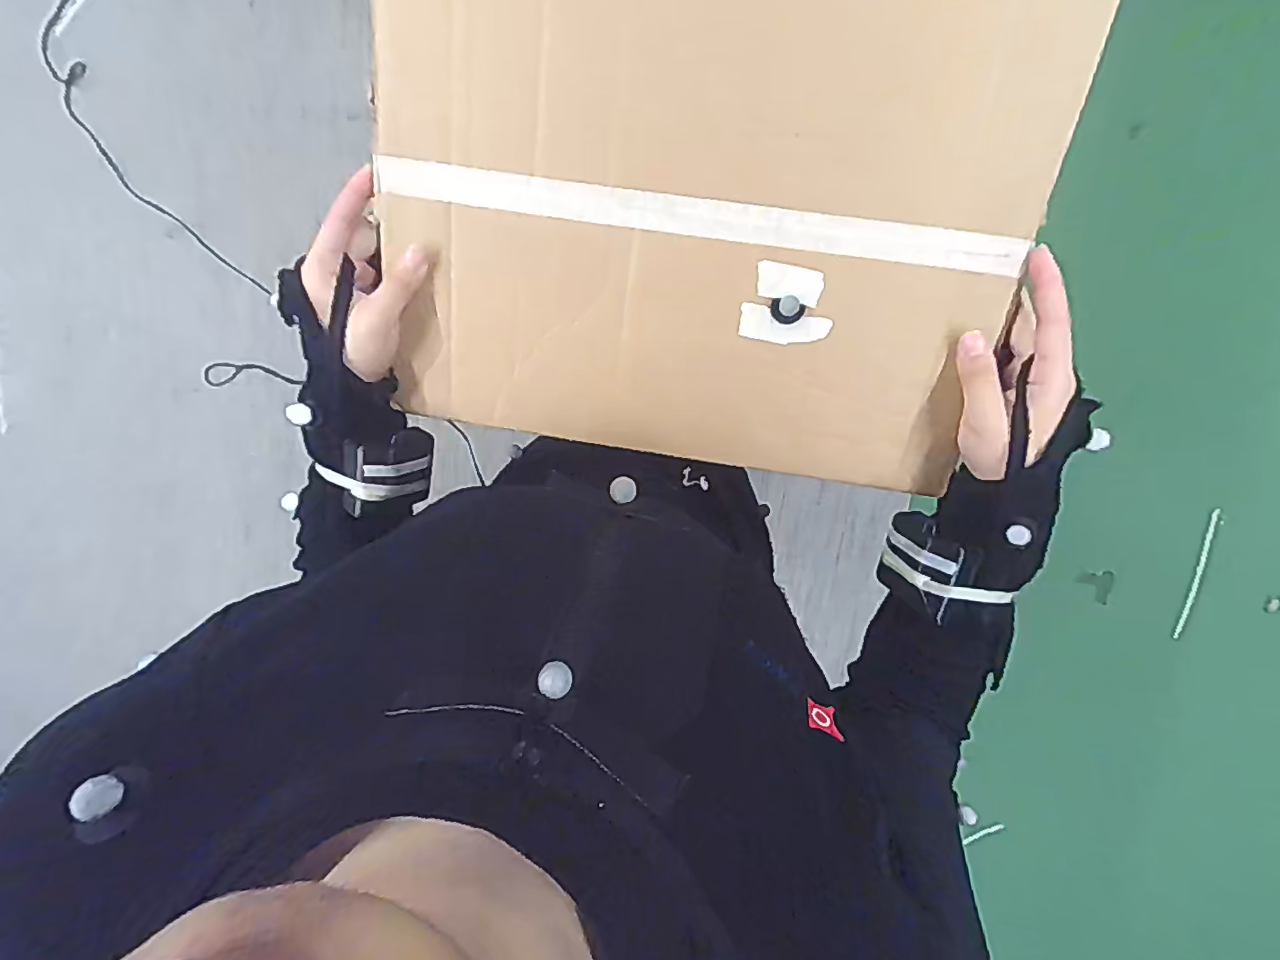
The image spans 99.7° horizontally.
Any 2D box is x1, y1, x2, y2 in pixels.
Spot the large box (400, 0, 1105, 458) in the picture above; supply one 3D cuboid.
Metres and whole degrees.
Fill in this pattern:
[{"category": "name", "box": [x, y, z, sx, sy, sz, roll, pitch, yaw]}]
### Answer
[{"category": "large box", "box": [0.054, -0.232, 0.481, 0.408, 0.320, 0.320, 8, 112, 2]}]
